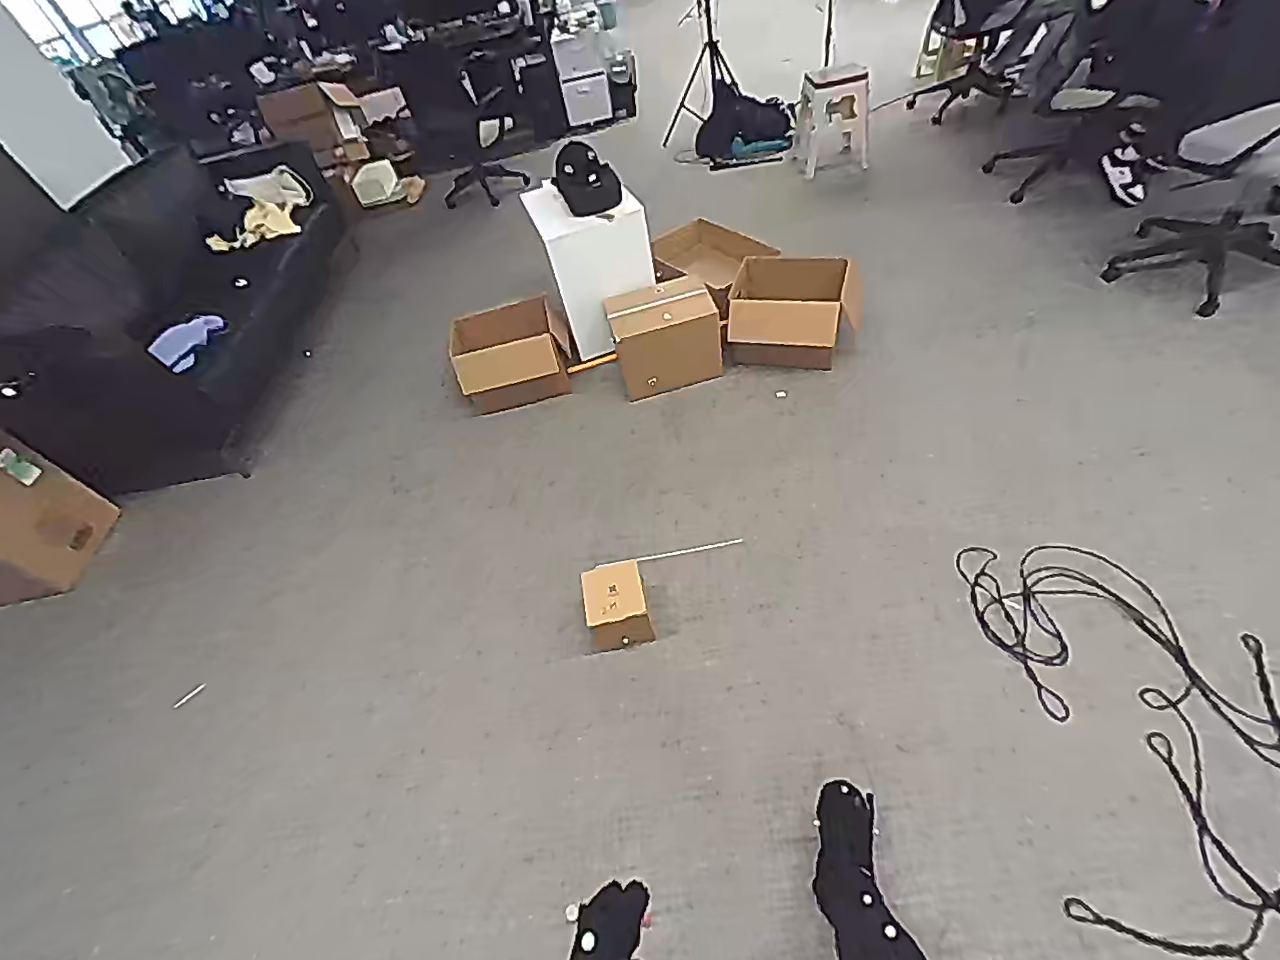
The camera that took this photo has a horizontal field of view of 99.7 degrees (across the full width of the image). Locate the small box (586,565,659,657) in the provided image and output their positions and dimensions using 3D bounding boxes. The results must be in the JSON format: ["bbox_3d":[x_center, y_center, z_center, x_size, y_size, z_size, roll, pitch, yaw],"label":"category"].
[{"bbox_3d":[-0.050,0.375,1.541,0.168,0.176,0.179,-14,47,1],"label":"small box"}]
